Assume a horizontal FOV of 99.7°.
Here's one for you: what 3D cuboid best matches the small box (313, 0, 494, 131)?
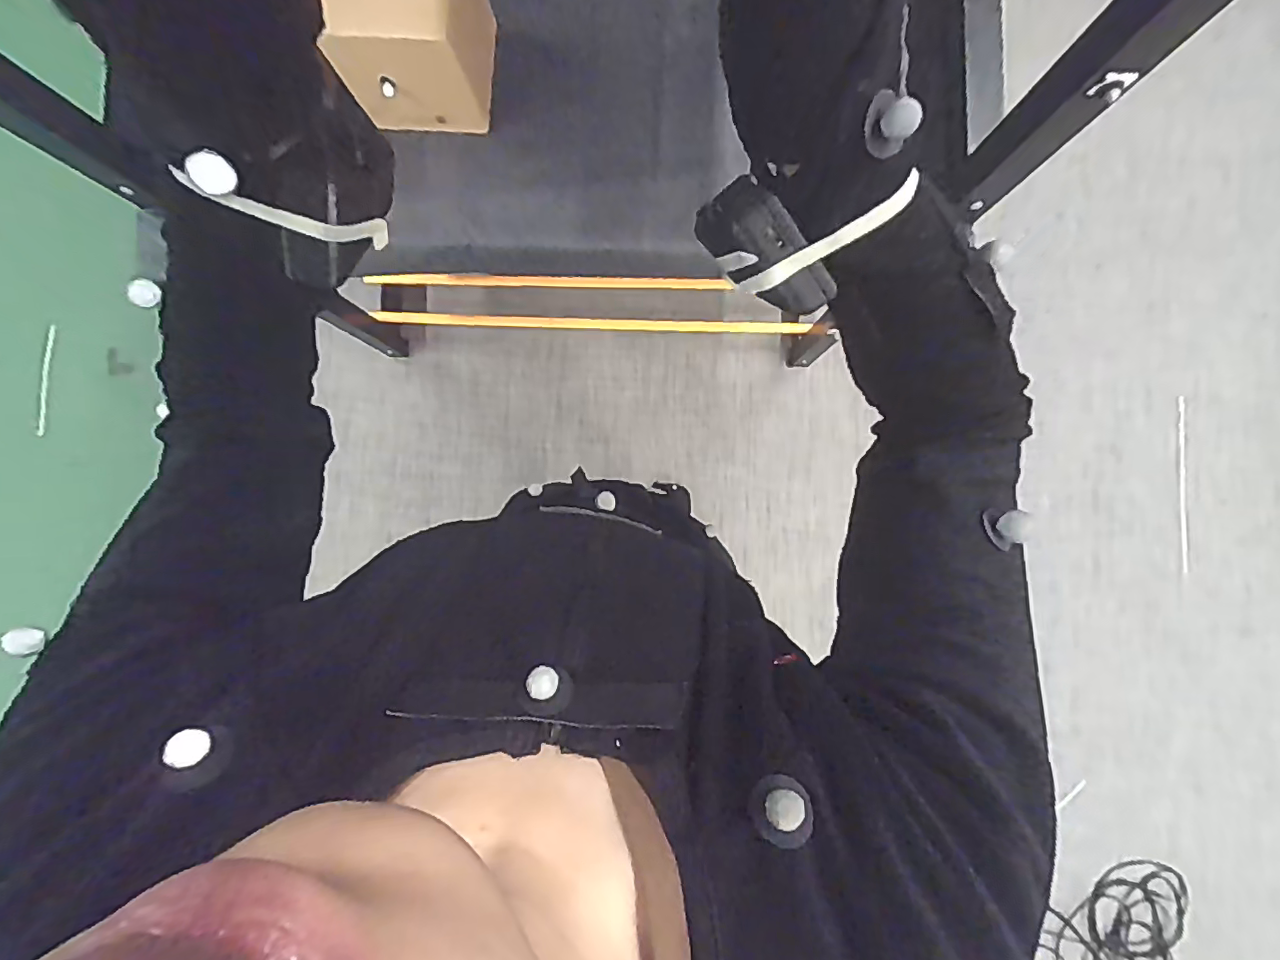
[{"bbox_3d":[-0.301,-0.603,0.721,0.168,0.176,0.179,3,87,0],"label":"small box"}]
